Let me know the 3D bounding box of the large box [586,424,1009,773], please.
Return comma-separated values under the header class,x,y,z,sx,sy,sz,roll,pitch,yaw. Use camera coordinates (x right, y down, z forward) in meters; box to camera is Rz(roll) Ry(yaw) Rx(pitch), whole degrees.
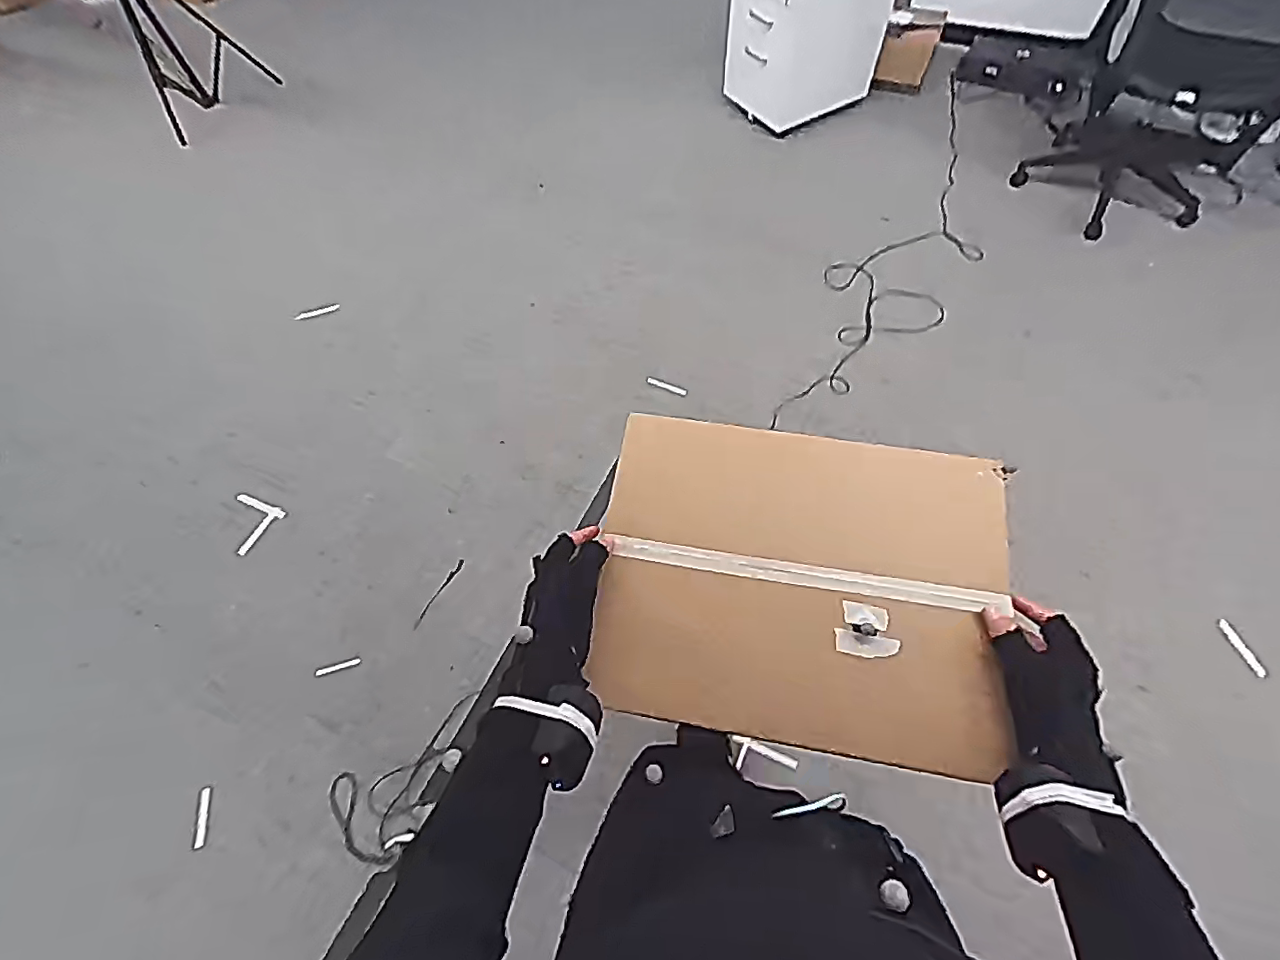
class,x,y,z,sx,sy,sz,roll,pitch,yaw
large box,0.171,0.153,0.699,0.408,0.320,0.320,9,70,7
